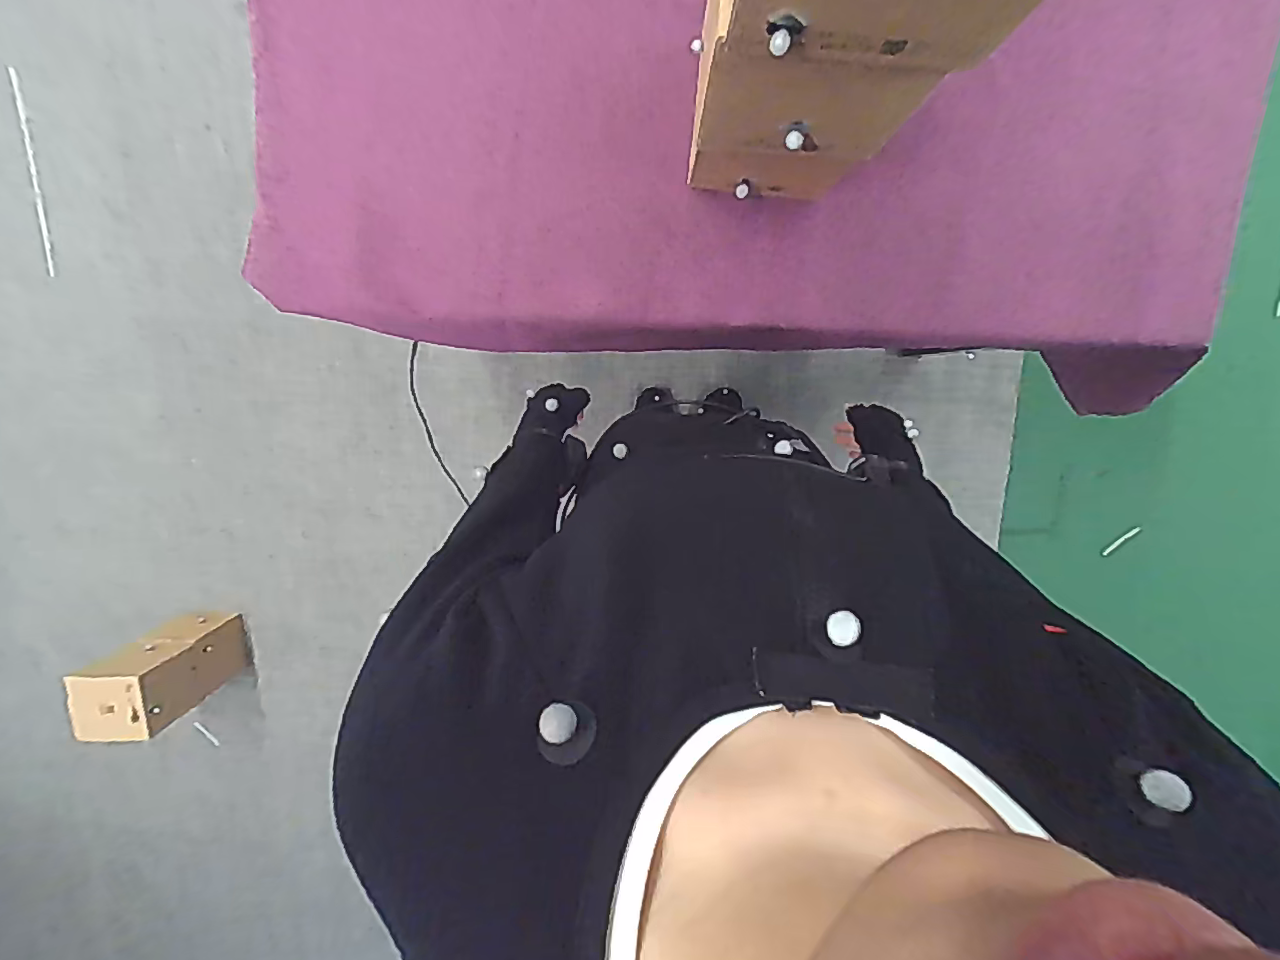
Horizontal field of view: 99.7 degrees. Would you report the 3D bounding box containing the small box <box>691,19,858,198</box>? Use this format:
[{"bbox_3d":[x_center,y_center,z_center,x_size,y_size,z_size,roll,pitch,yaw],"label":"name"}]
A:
[{"bbox_3d":[0.149,-0.432,0.581,0.168,0.176,0.179,6,100,0],"label":"small box"}]

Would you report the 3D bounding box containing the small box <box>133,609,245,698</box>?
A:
[{"bbox_3d":[-1.227,0.473,1.486,0.168,0.176,0.179,1,100,0],"label":"small box"}]

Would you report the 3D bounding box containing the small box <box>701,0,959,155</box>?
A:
[{"bbox_3d":[0.141,-0.389,0.423,0.168,0.176,0.179,5,100,1],"label":"small box"}]

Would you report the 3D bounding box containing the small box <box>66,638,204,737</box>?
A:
[{"bbox_3d":[-1.227,0.502,1.325,0.179,0.176,0.168,0,100,1],"label":"small box"}]

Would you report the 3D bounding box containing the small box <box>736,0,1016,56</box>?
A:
[{"bbox_3d":[0.142,-0.351,0.262,0.168,0.176,0.179,5,99,0],"label":"small box"}]
